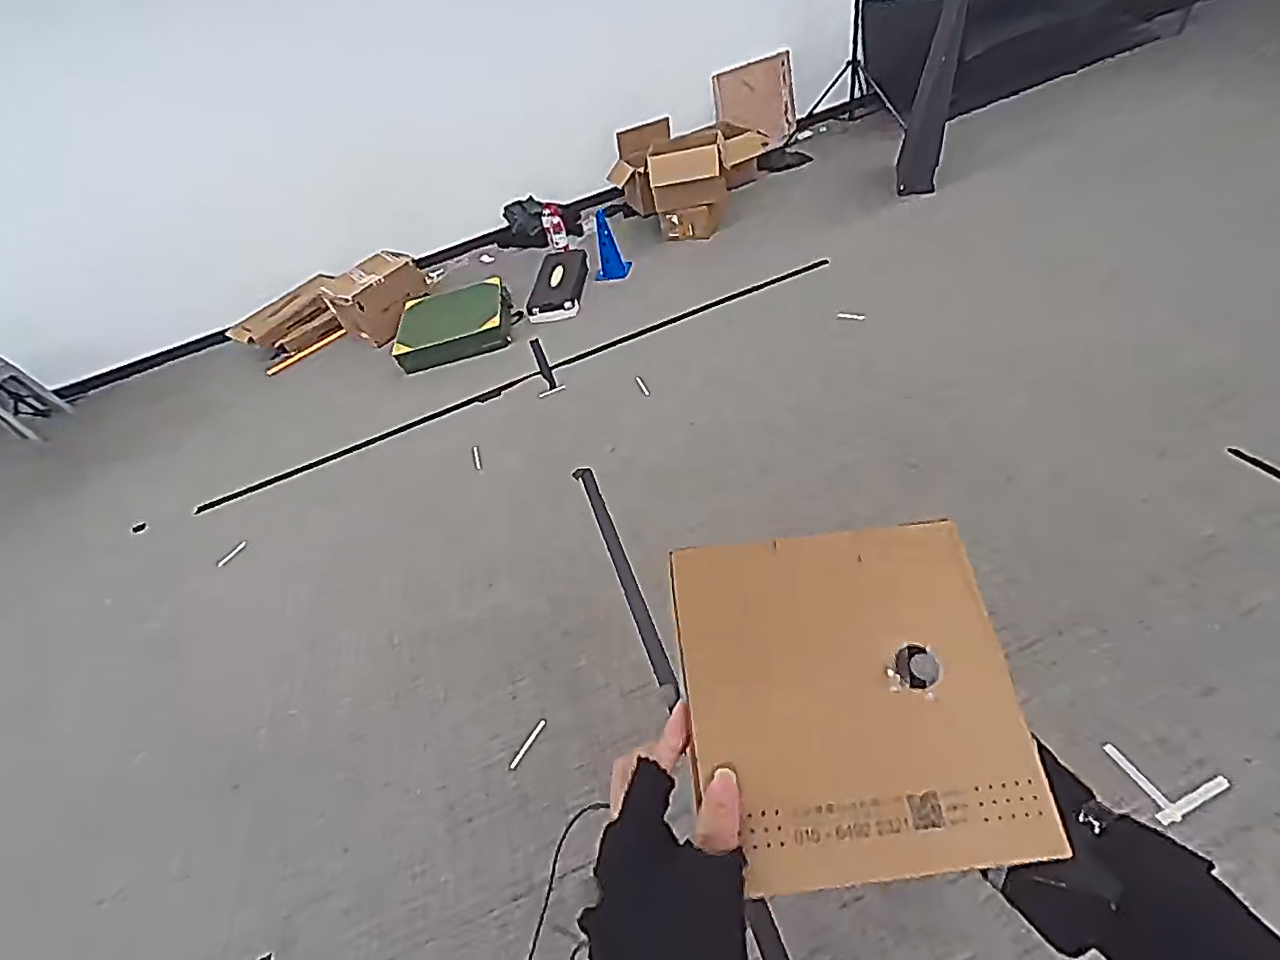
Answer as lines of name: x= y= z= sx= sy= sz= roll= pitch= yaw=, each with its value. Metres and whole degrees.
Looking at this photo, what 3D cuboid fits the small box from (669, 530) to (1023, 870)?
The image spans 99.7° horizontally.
small box: x=0.112 y=0.147 z=0.371 sx=0.168 sy=0.179 sz=0.176 roll=-7 pitch=68 yaw=0
